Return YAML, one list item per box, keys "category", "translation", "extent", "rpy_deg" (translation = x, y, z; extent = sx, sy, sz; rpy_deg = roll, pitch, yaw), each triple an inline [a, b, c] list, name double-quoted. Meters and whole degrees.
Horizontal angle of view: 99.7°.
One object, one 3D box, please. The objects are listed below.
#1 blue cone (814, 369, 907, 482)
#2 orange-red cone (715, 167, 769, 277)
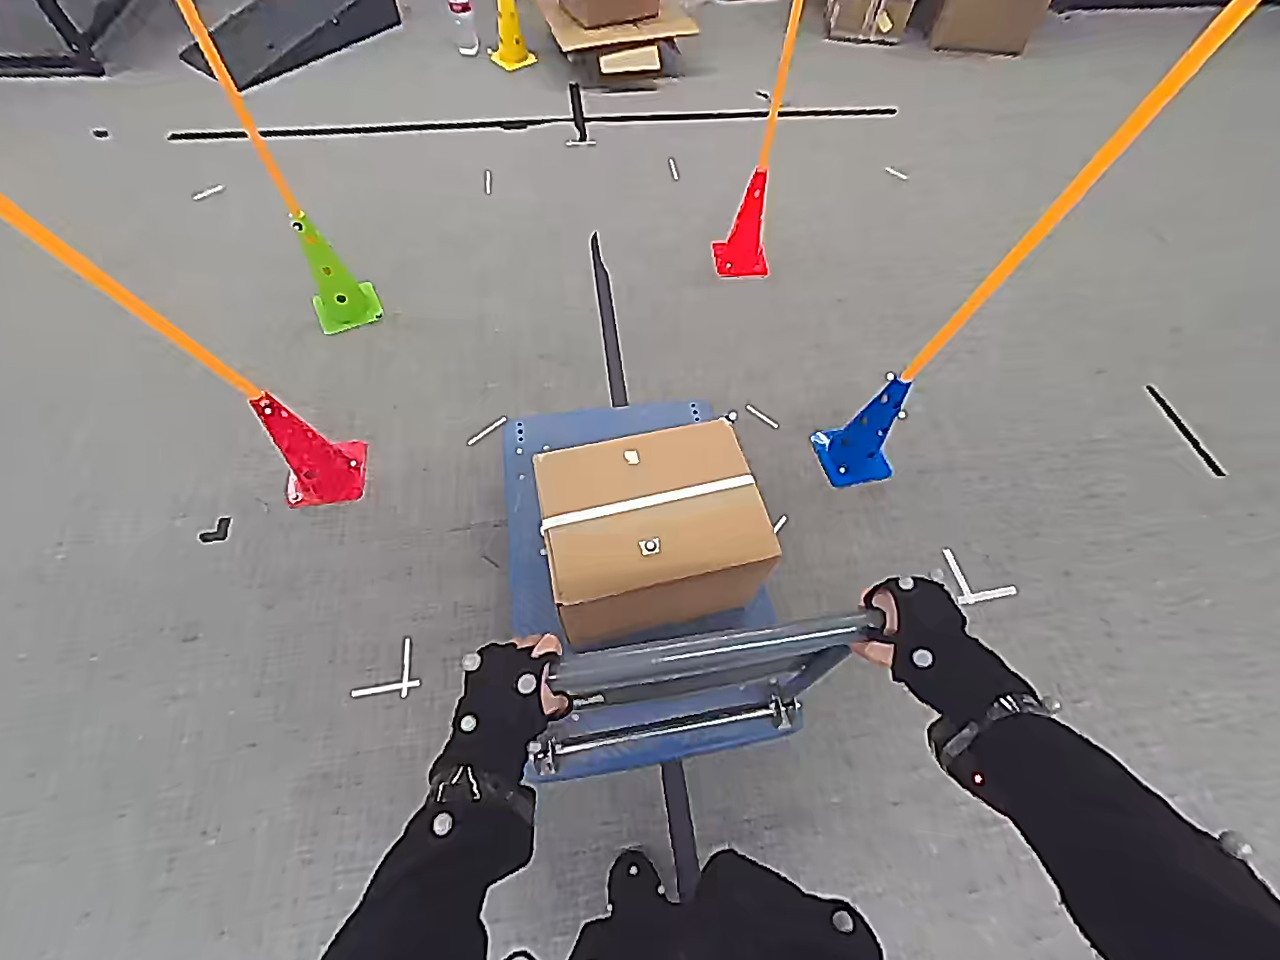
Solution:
- category: "blue cone"
  translation: [0.658, -0.167, 1.528]
  extent: [0.193, 0.380, 0.192]
  rpy_deg: [-9, 60, -9]
- category: "orange-red cone"
  translation: [0.402, -0.939, 1.939]
  extent: [0.199, 0.360, 0.198]
  rpy_deg: [0, 61, -4]
